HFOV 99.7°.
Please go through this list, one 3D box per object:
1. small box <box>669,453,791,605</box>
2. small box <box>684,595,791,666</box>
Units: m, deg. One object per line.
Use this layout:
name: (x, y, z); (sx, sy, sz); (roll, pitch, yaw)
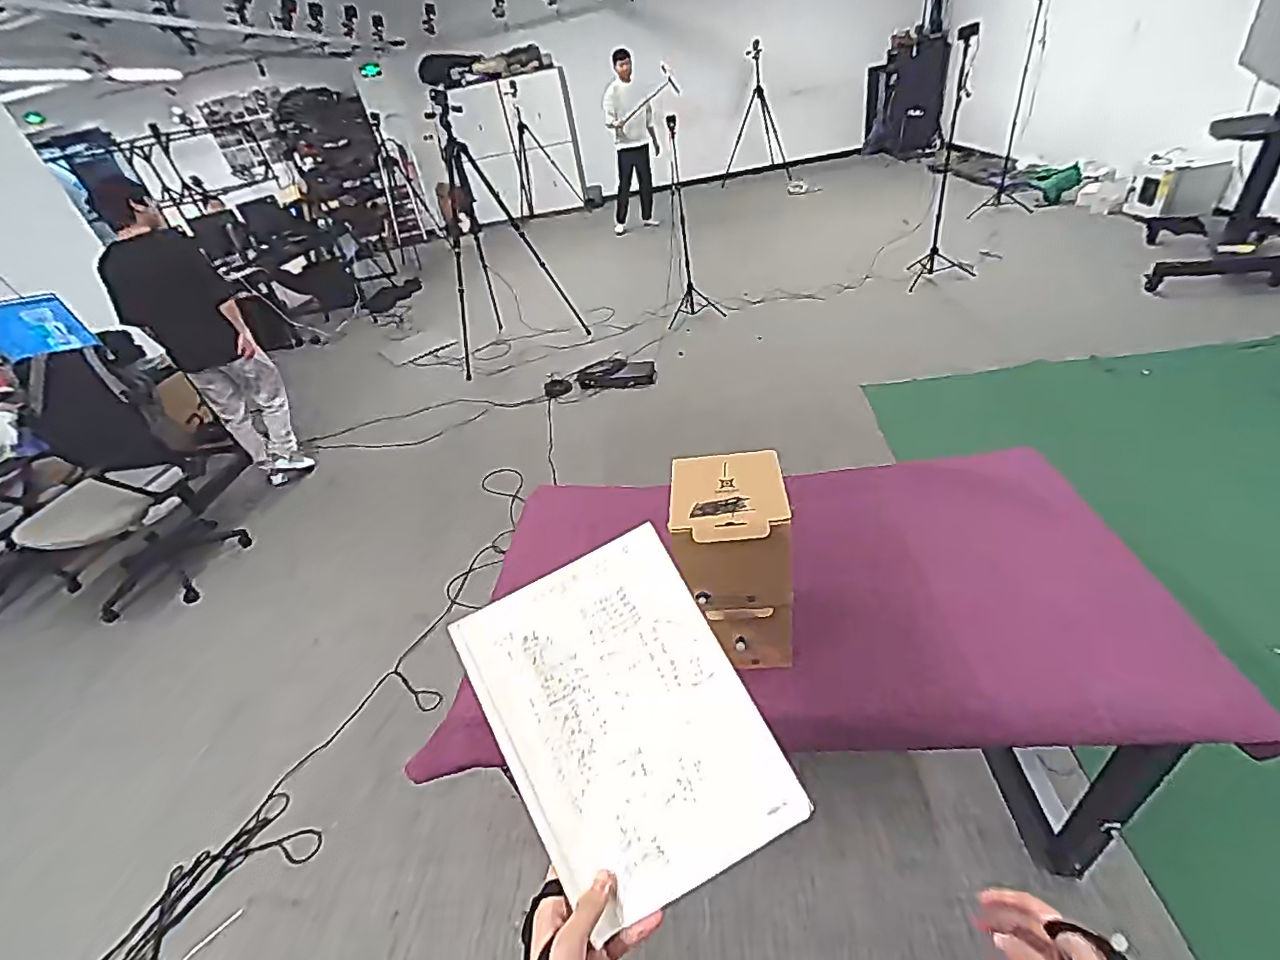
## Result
small box: (0.141, 0.080, 0.842); (0.168, 0.176, 0.179); (-5, 35, 9)
small box: (0.169, 0.208, 0.943); (0.168, 0.176, 0.179); (-5, 37, 9)
